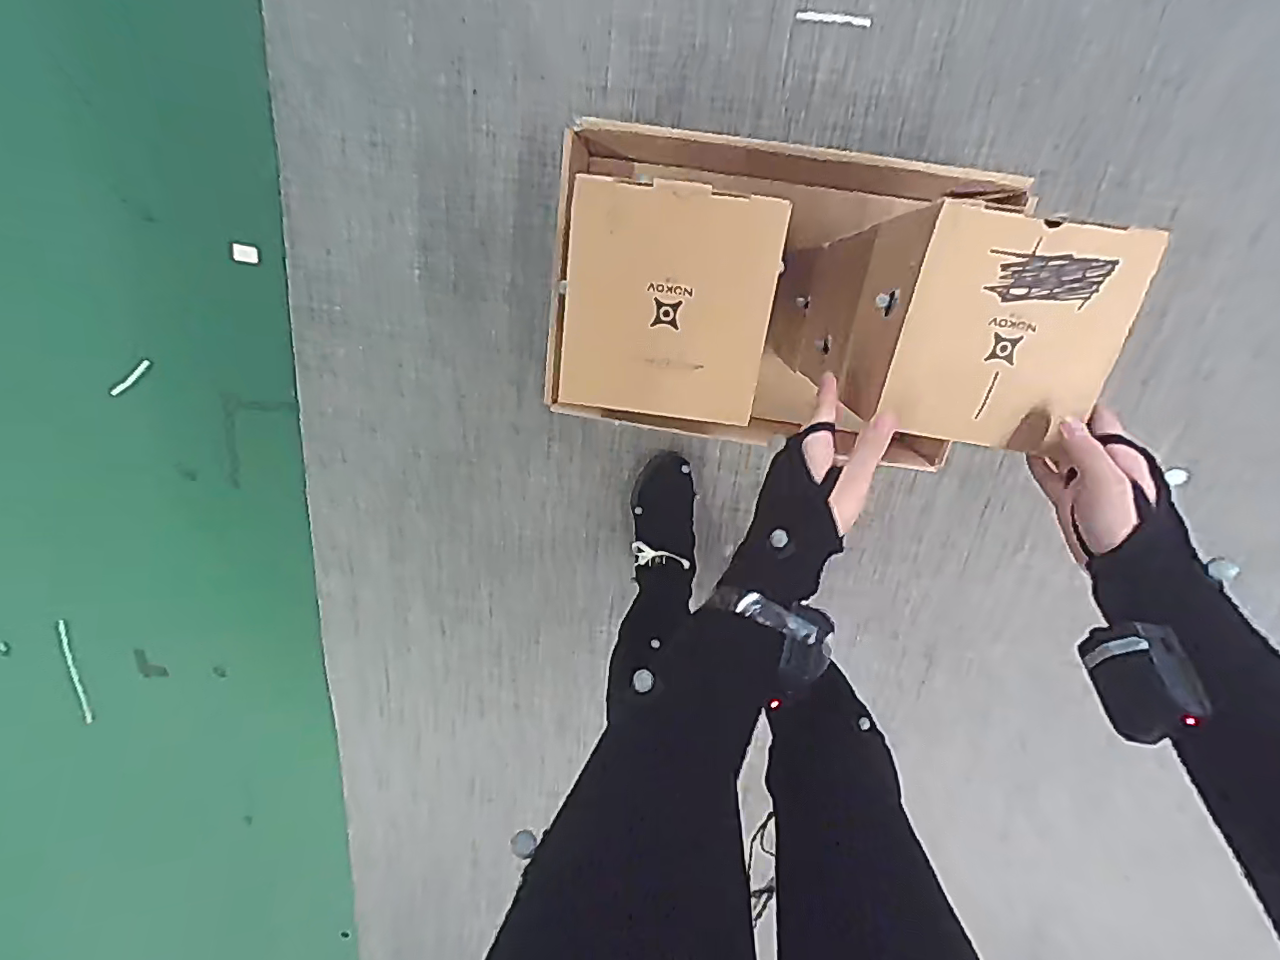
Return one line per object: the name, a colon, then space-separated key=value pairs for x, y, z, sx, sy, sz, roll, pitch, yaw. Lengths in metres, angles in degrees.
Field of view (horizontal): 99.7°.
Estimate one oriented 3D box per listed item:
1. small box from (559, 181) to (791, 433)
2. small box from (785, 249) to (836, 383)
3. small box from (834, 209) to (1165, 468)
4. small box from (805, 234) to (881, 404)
small box: x=0.028 y=-0.159 z=0.507 sx=0.168 sy=0.176 sz=0.179 roll=9 pitch=111 yaw=2
small box: x=0.322 y=-0.234 z=0.807 sx=0.168 sy=0.176 sz=0.179 roll=10 pitch=110 yaw=2
small box: x=0.295 y=-0.131 z=0.496 sx=0.168 sy=0.176 sz=0.179 roll=10 pitch=111 yaw=3
small box: x=0.309 y=-0.182 z=0.651 sx=0.168 sy=0.176 sz=0.179 roll=11 pitch=109 yaw=2
